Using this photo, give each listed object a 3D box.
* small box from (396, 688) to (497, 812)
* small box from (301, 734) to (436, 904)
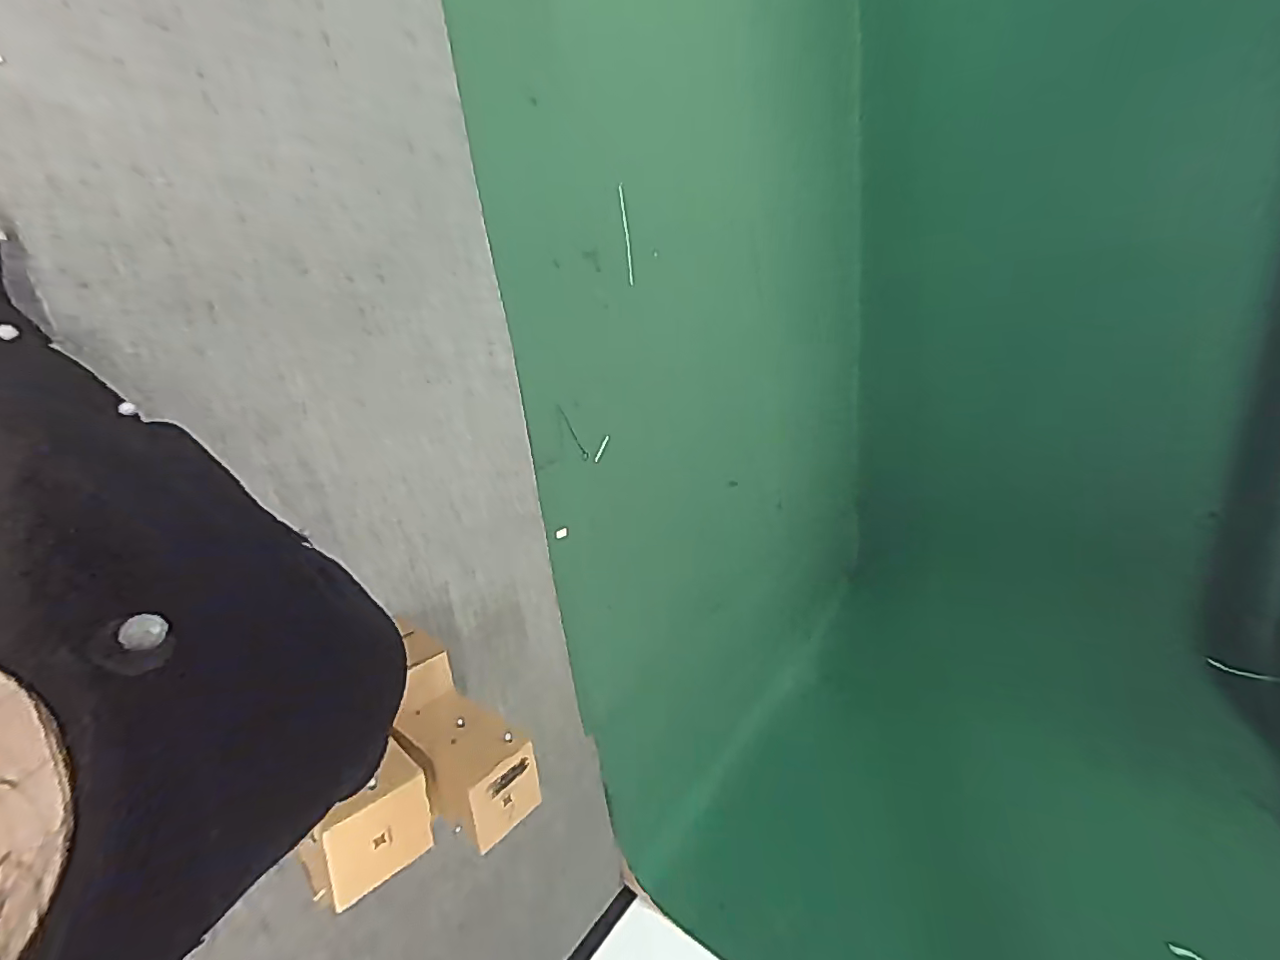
[{"bbox_3d":[-0.471,0.646,1.316,0.168,0.176,0.179,-18,112,-48],"label":"small box"},{"bbox_3d":[-0.510,0.617,1.011,0.179,0.176,0.168,-15,109,-46],"label":"small box"}]
